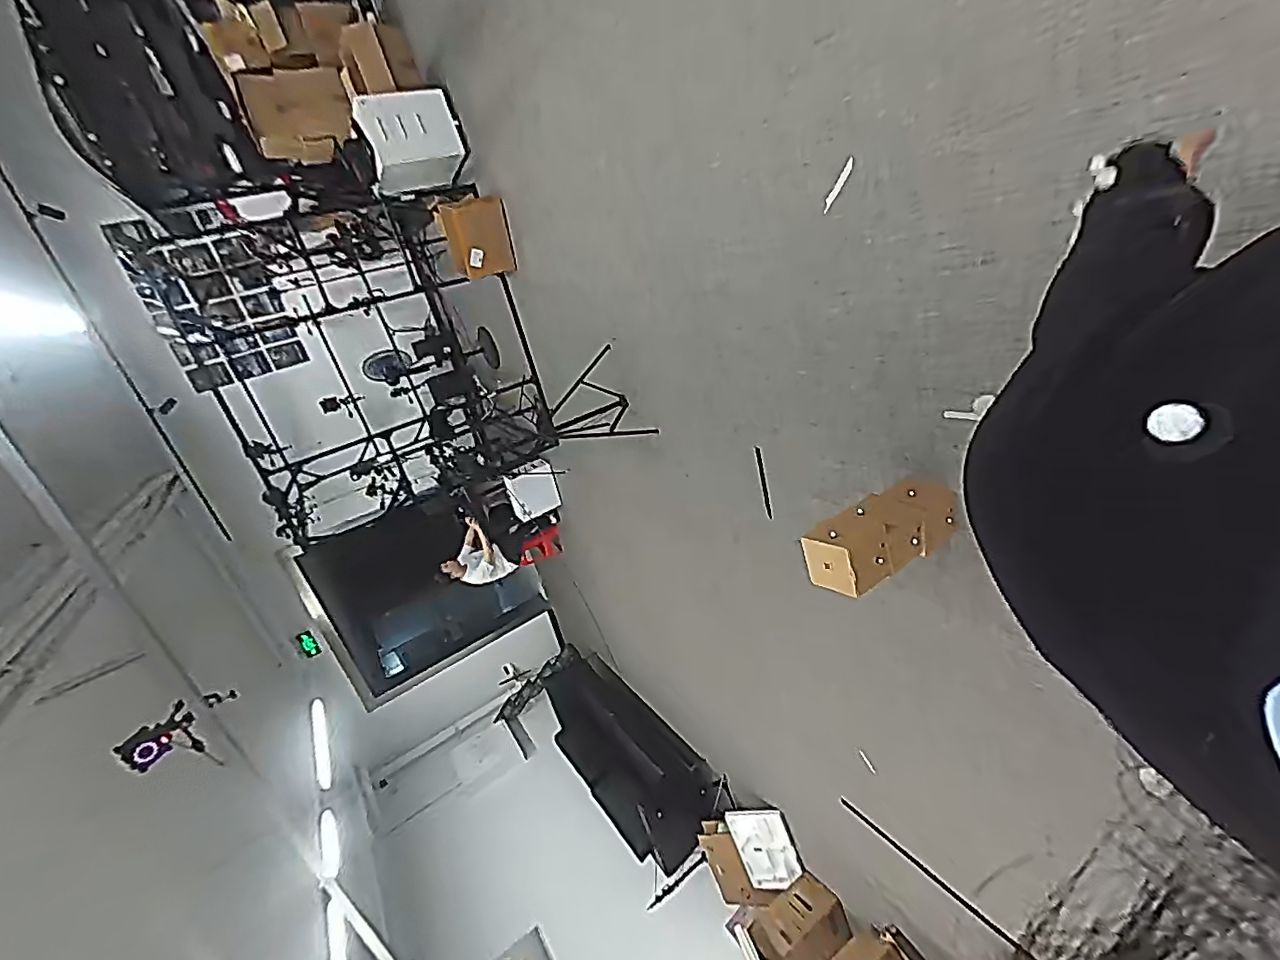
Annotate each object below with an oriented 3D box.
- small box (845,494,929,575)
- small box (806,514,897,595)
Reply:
[{"bbox_3d":[0.769,0.162,1.690,0.179,0.176,0.168,26,137,52],"label":"small box"},{"bbox_3d":[0.633,0.215,1.618,0.179,0.176,0.168,10,123,60],"label":"small box"}]
